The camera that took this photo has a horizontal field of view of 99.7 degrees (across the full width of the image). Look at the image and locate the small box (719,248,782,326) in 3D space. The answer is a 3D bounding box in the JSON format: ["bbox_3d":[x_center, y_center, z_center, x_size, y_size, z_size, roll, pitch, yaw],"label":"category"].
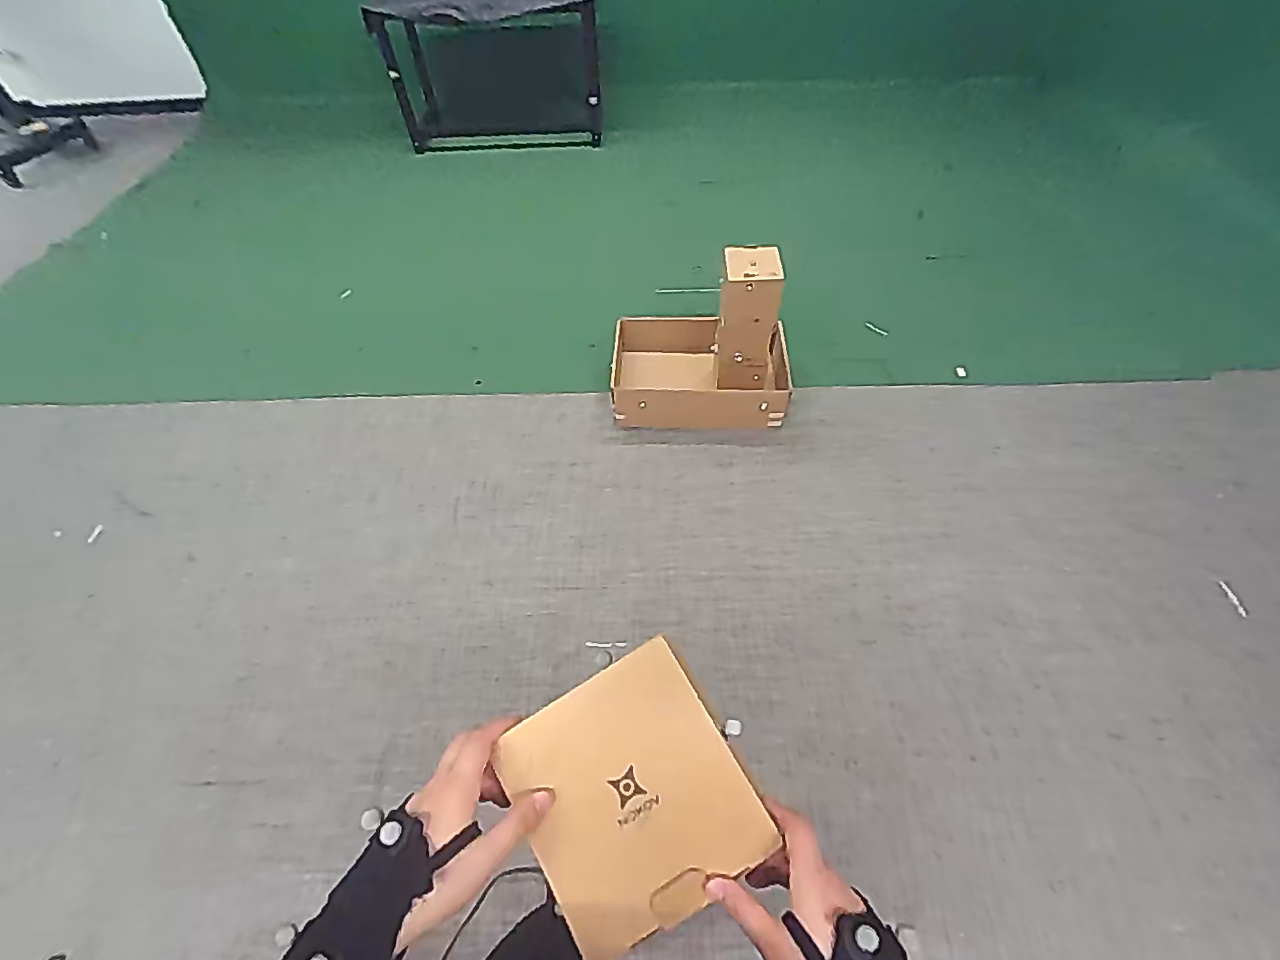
[{"bbox_3d":[0.340,-0.604,1.692,0.168,0.176,0.179,-1,53,3],"label":"small box"}]

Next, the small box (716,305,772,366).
[{"bbox_3d":[0.346,-0.507,1.825,0.168,0.176,0.179,2,55,5],"label":"small box"}]
